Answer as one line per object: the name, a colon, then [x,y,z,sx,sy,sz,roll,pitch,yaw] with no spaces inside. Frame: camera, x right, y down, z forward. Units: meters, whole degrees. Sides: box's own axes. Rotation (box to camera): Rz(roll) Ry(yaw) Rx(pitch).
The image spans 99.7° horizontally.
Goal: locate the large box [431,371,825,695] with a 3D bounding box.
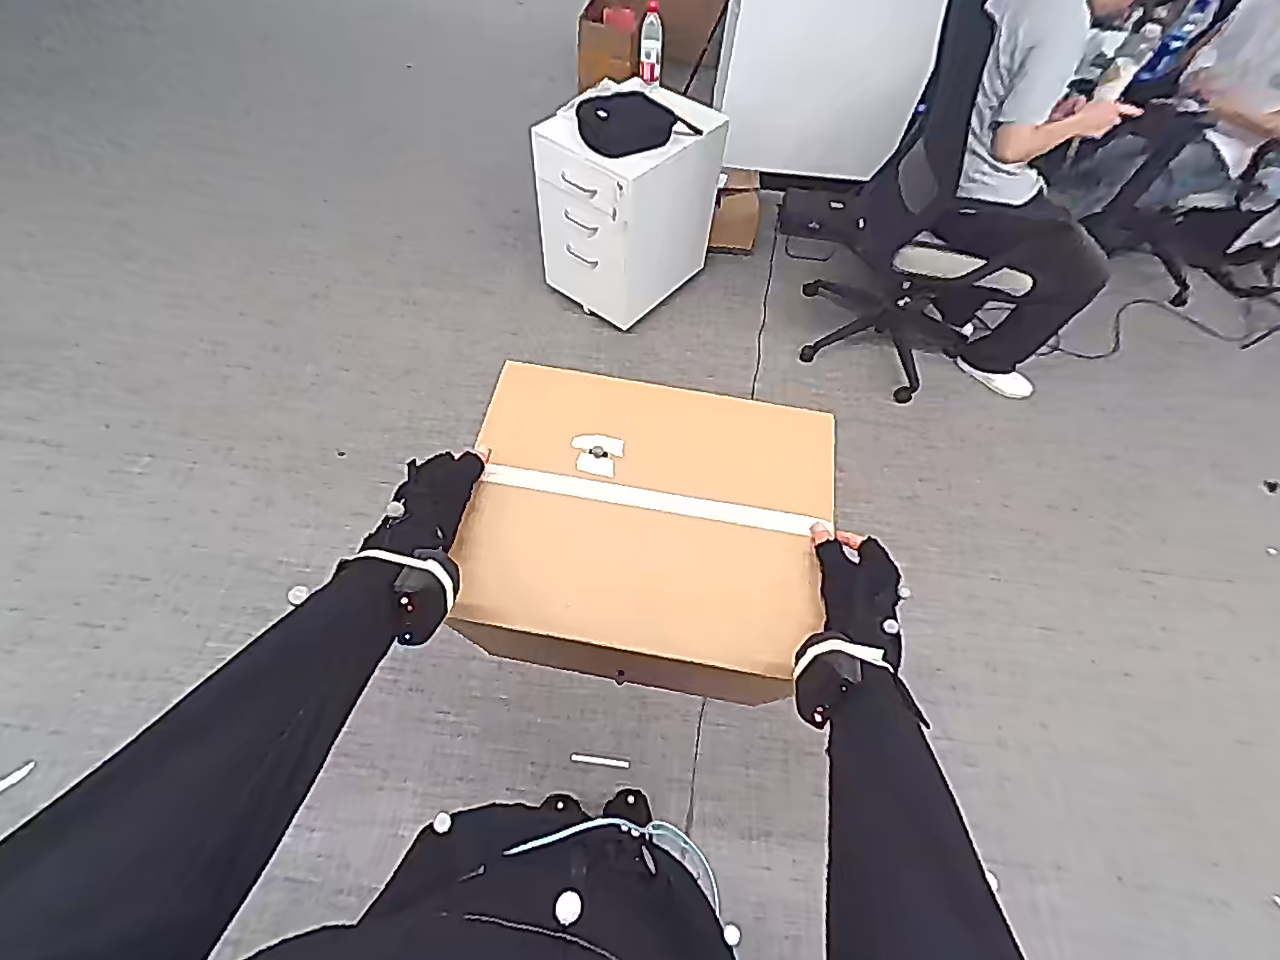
large box: [0.005,0.091,0.737,0.408,0.320,0.320,10,63,3]
